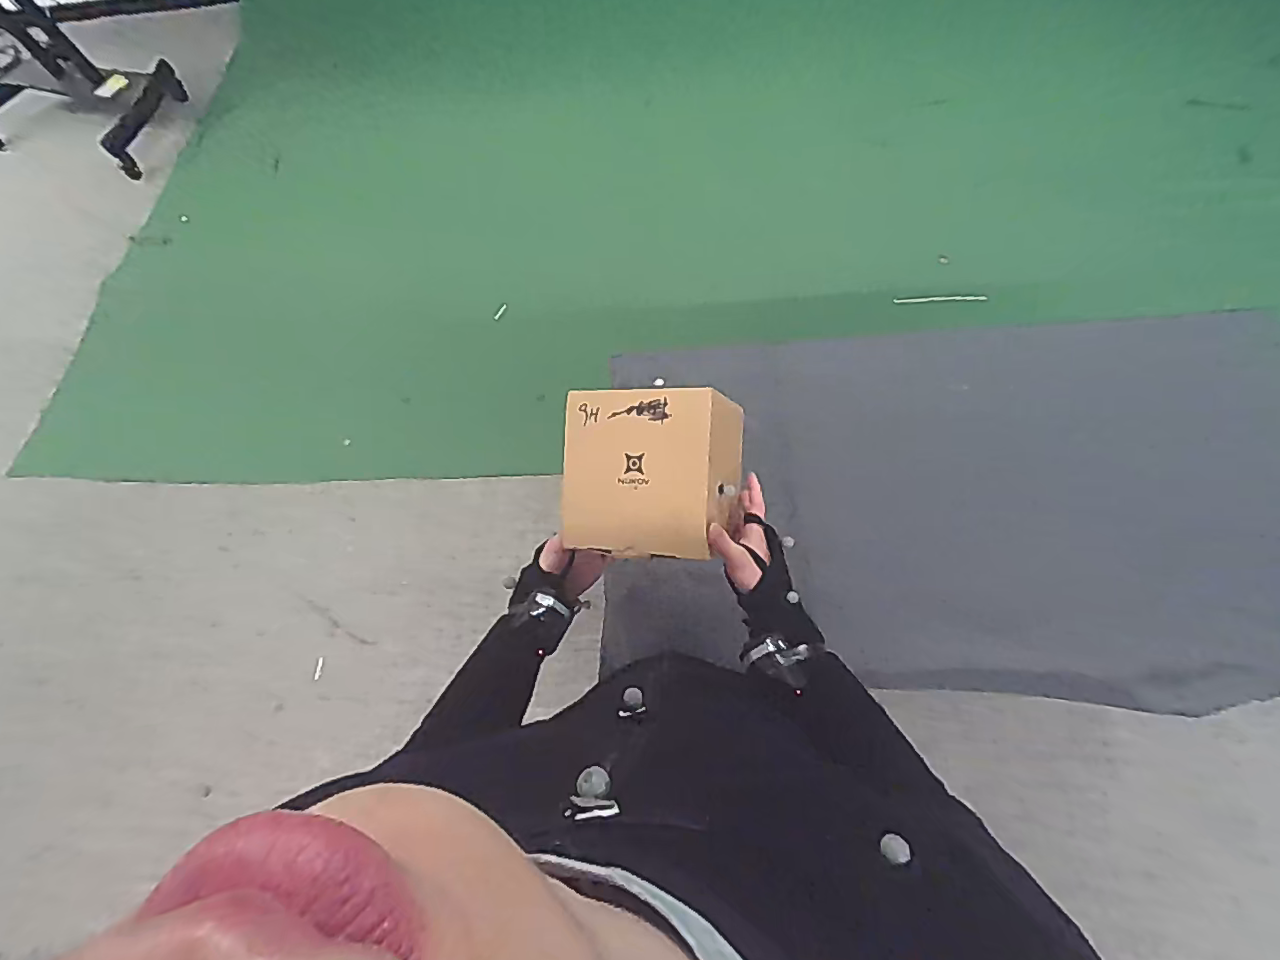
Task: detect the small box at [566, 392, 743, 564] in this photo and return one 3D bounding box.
[{"bbox_3d":[0.026,-0.006,0.640,0.168,0.176,0.179,2,91,21],"label":"small box"}]
